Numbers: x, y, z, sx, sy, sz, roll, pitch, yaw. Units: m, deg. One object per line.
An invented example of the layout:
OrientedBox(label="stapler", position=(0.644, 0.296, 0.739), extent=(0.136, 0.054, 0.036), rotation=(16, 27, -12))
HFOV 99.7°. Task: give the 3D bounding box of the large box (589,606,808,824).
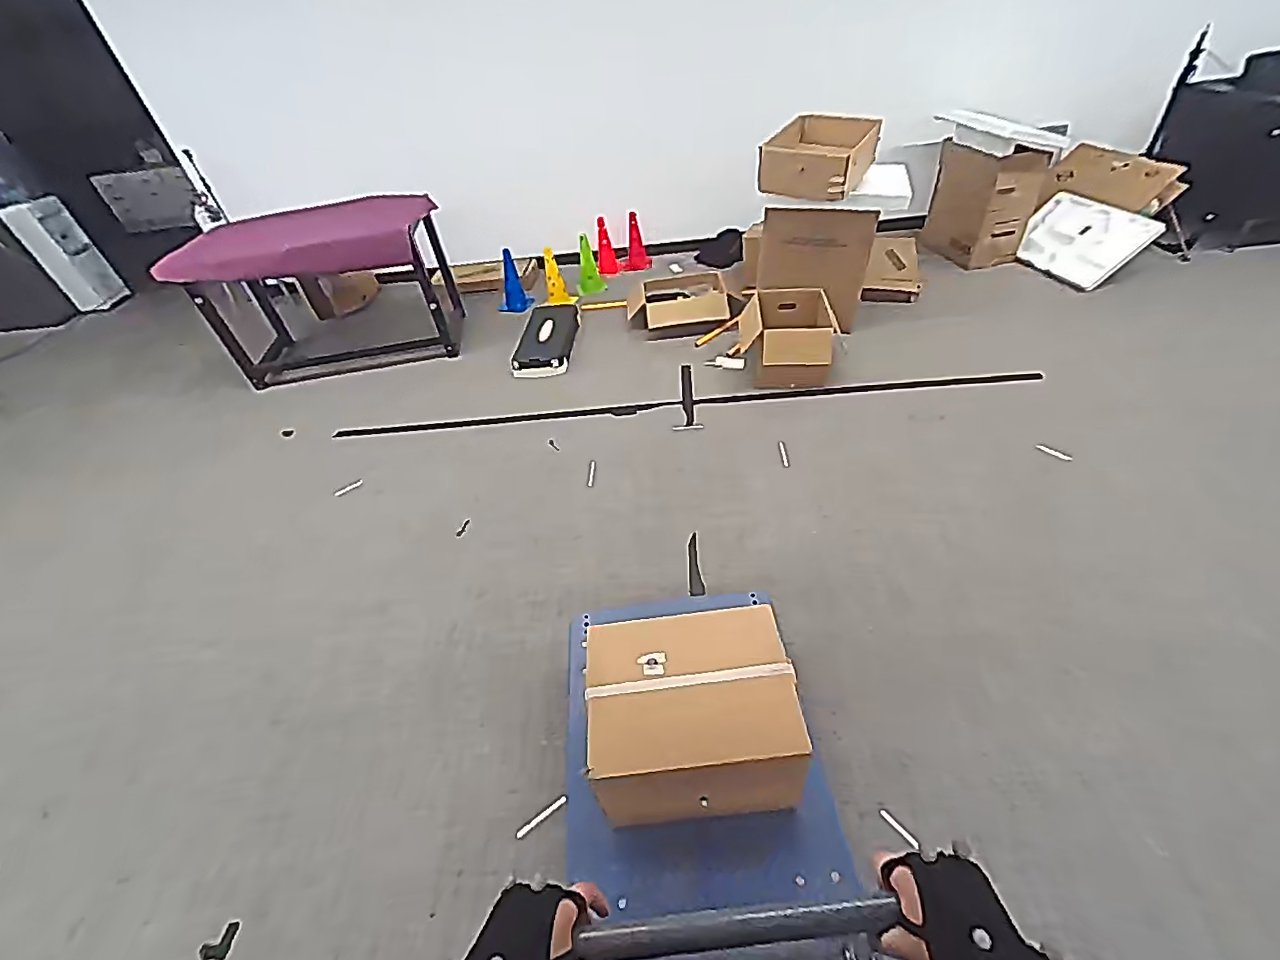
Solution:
OrientedBox(label="large box", position=(0.116, 0.519, 1.187), extent=(0.408, 0.320, 0.320), rotation=(-9, 42, 2))
